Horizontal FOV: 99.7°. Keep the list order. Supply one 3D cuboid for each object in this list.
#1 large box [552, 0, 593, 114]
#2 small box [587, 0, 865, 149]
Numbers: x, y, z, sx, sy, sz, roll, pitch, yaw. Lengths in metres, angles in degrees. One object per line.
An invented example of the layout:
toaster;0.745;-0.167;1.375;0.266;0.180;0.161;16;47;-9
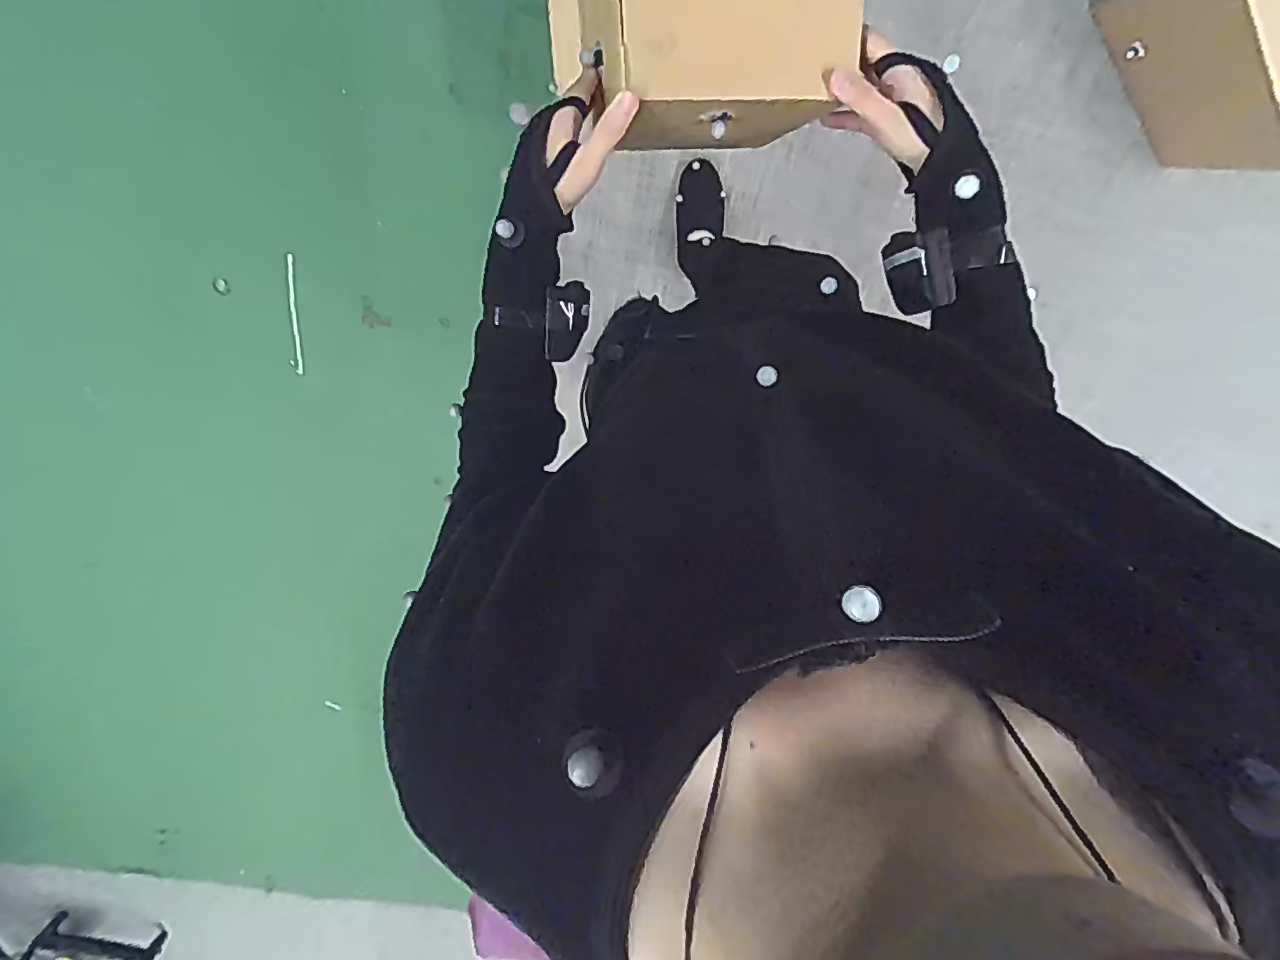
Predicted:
large box;0.061;-0.864;0.974;0.408;0.320;0.320;-1;120;3
small box;0.053;-0.369;0.421;0.179;0.176;0.168;-7;112;-11
